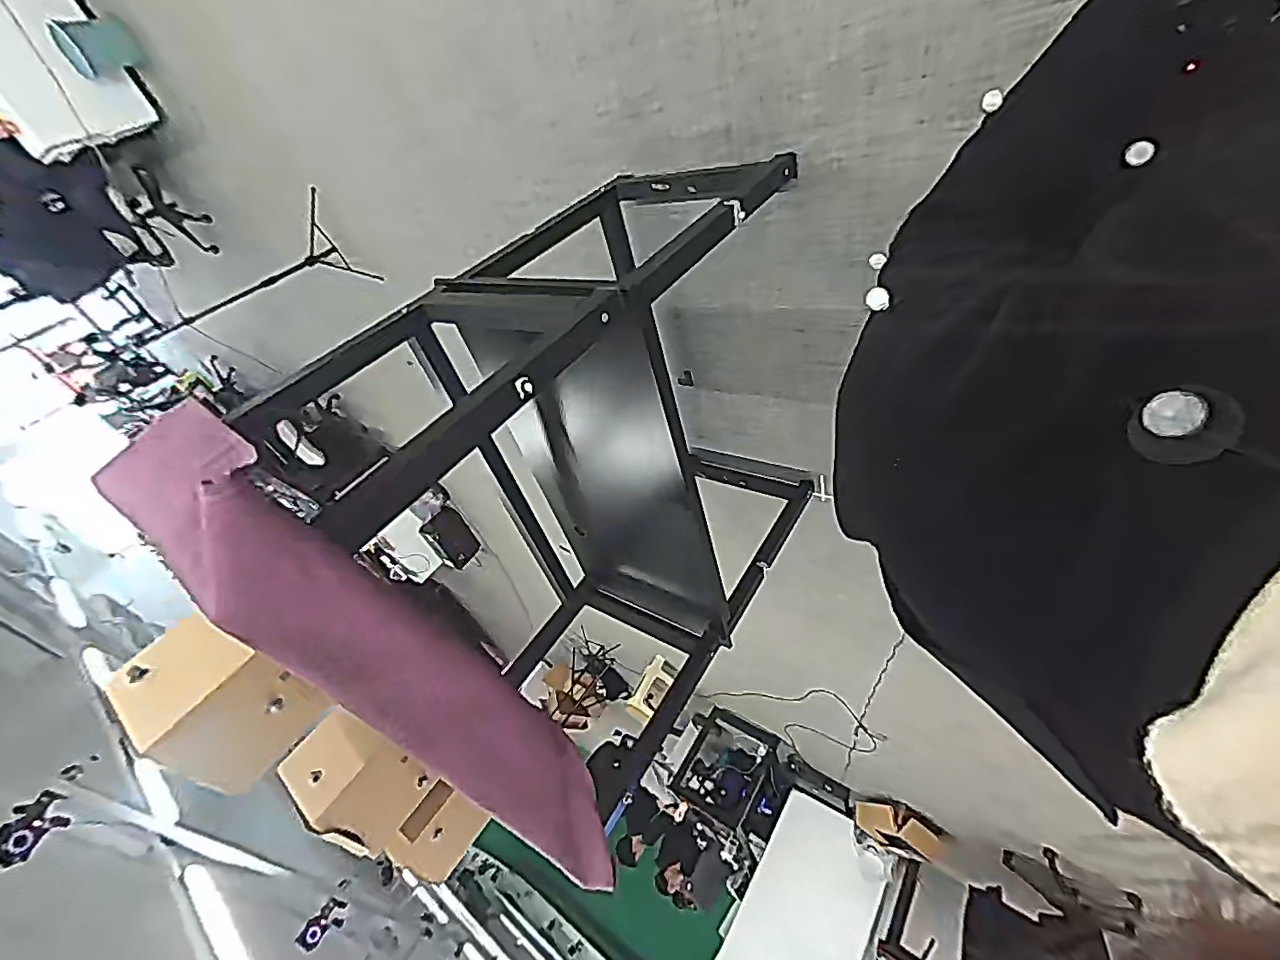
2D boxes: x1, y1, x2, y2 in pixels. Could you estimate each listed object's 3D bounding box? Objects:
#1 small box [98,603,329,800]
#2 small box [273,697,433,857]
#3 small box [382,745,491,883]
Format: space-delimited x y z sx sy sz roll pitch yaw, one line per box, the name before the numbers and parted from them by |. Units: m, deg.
small box | -0.586 0.300 0.762 0.179 0.176 0.168 19 145 32
small box | -0.512 0.532 0.988 0.179 0.176 0.168 13 140 39
small box | -0.455 0.704 1.152 0.168 0.176 0.179 17 143 35
